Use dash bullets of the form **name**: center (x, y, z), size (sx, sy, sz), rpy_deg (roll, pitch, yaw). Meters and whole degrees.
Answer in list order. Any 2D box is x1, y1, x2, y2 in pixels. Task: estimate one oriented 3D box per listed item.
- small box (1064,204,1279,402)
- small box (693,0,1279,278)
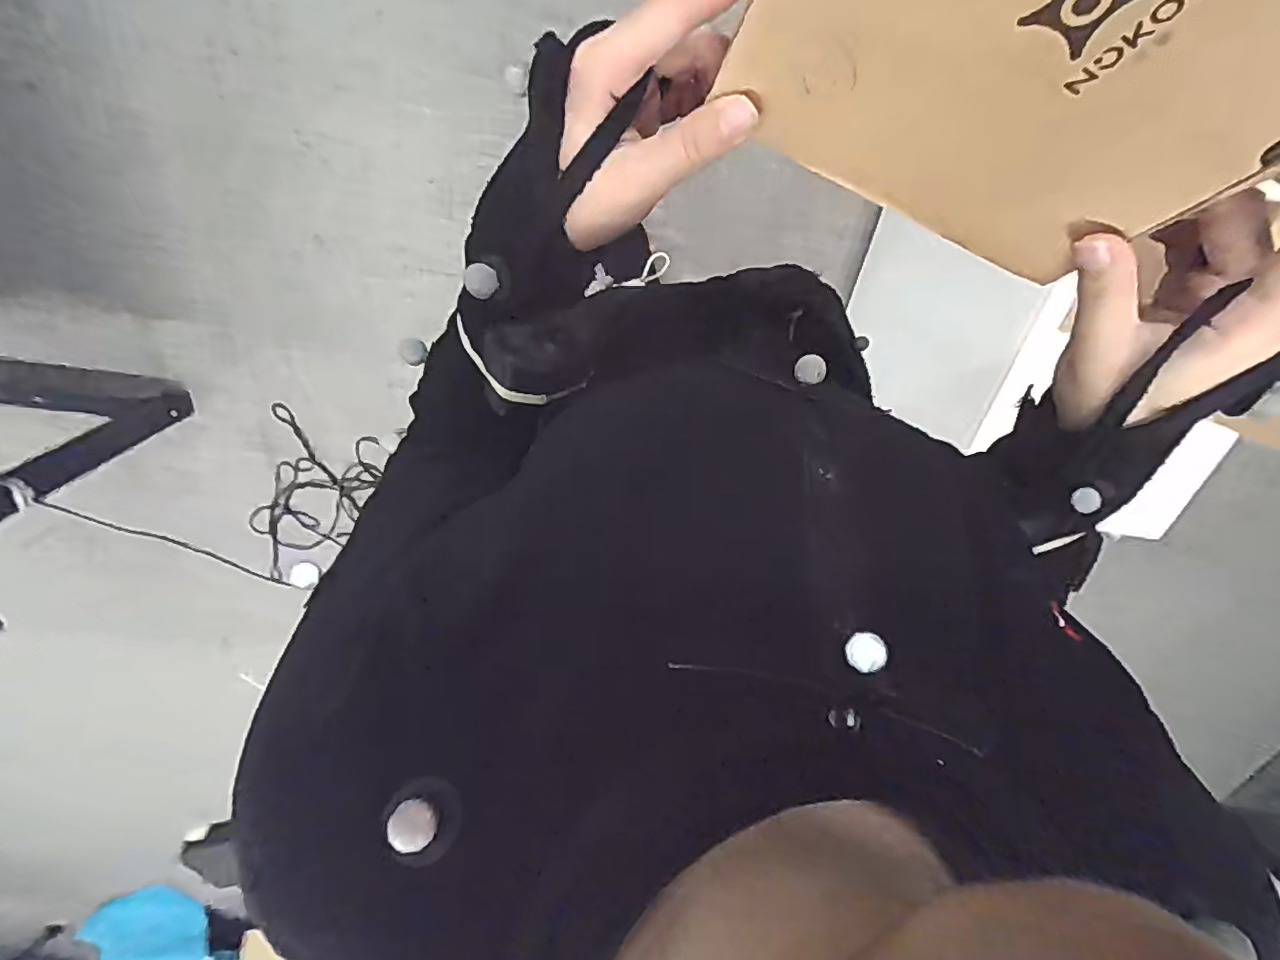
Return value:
- **small box**: center (0.644, -0.203, 0.607), size (0.179, 0.176, 0.168), rpy_deg (9, 119, -9)
- **small box**: center (0.141, -0.207, 0.168), size (0.179, 0.168, 0.176), rpy_deg (18, 74, -12)
